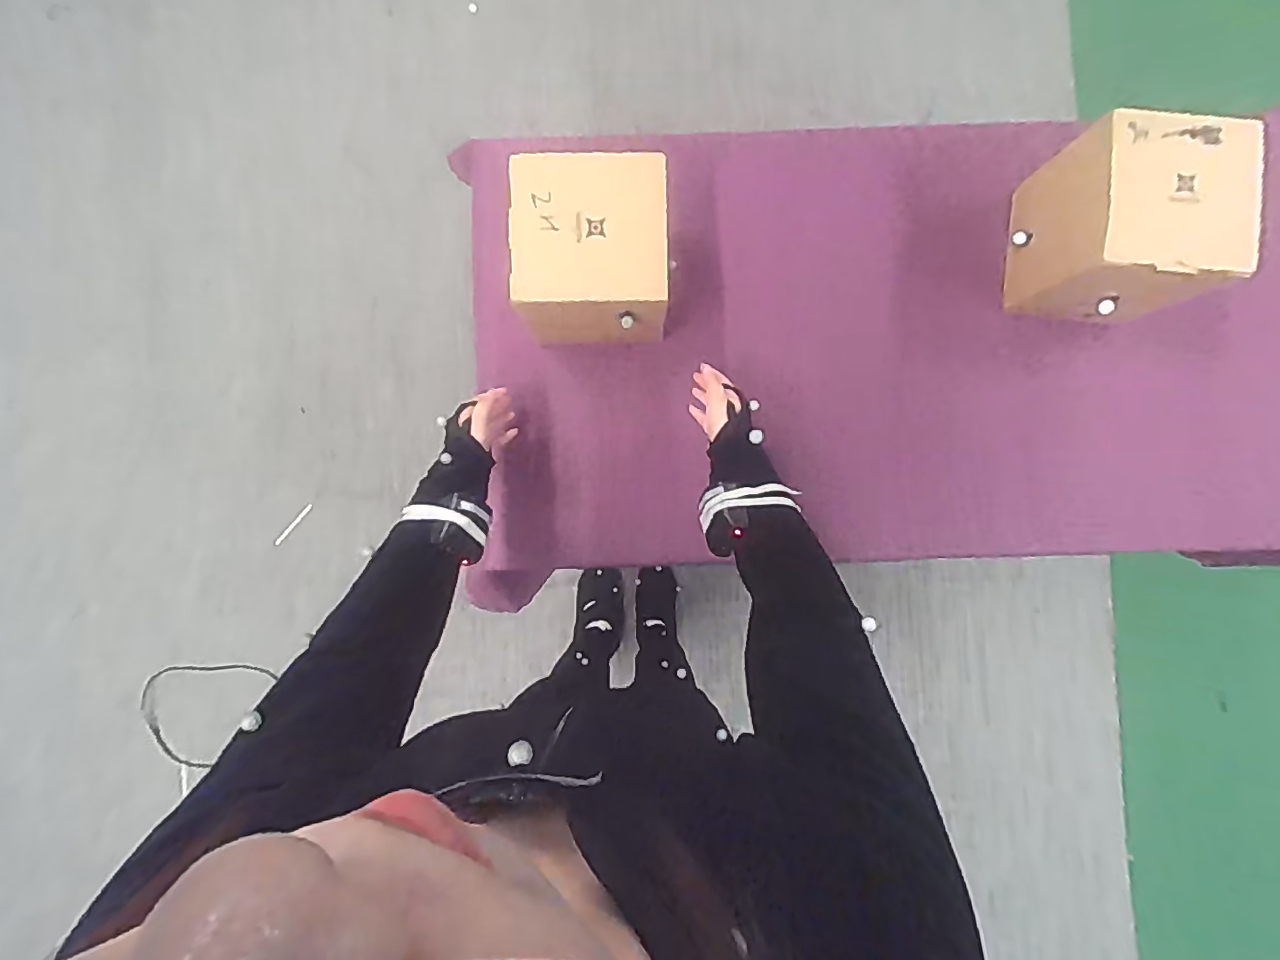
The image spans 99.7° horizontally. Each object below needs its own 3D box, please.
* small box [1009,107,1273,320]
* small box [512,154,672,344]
[{"bbox_3d":[0.591,-0.308,0.662,0.168,0.176,0.179,6,89,1],"label":"small box"},{"bbox_3d":[-0.052,-0.274,0.673,0.179,0.176,0.168,0,88,1],"label":"small box"}]
